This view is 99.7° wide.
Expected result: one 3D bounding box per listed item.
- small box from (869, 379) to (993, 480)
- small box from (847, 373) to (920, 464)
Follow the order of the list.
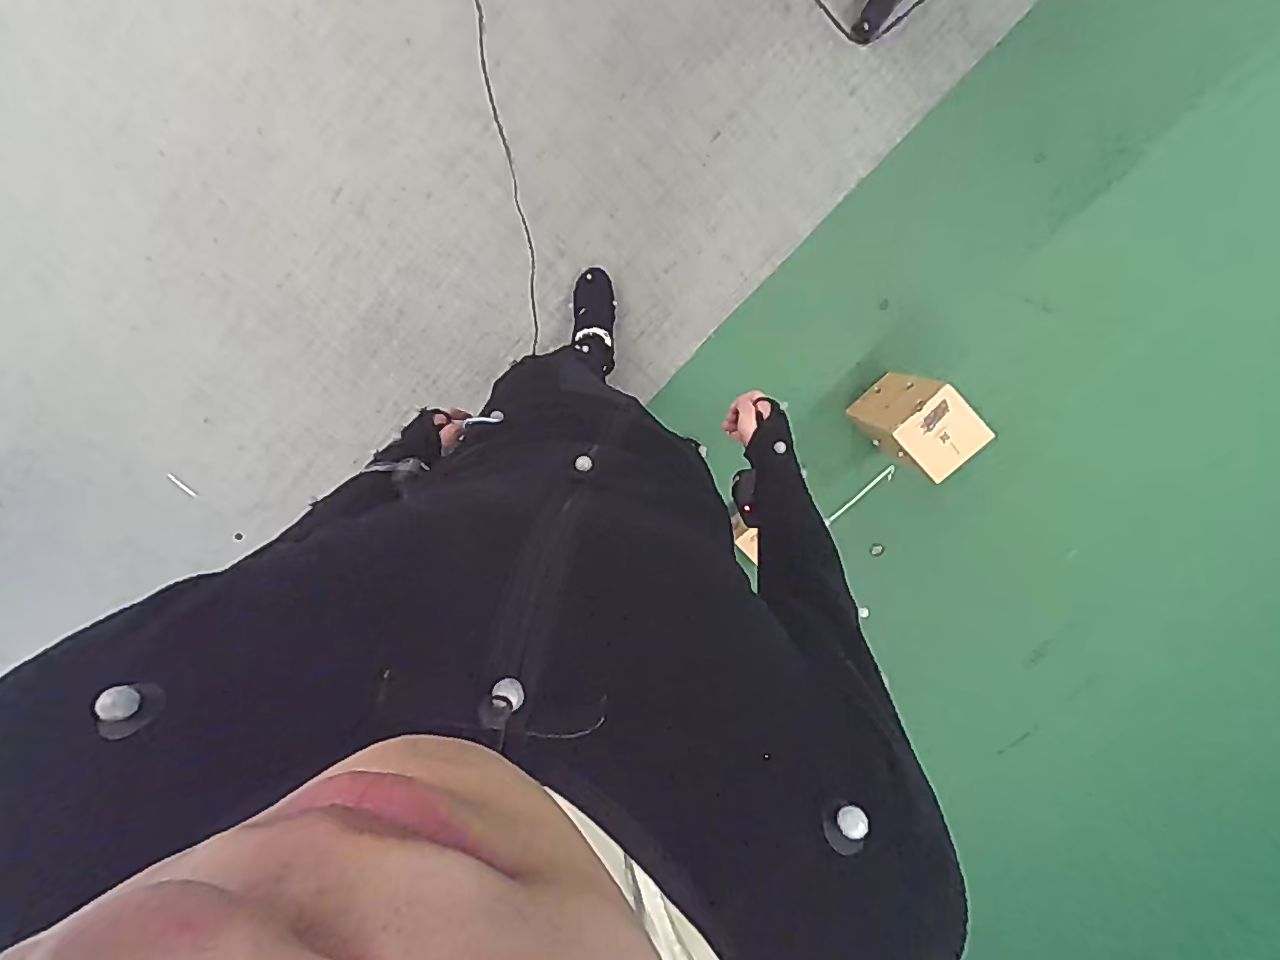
[{"bbox_3d":[0.699,-0.132,1.321,0.179,0.176,0.168,43,103,-10],"label":"small box"},{"bbox_3d":[0.705,-0.176,1.479,0.179,0.176,0.168,44,103,-9],"label":"small box"}]
